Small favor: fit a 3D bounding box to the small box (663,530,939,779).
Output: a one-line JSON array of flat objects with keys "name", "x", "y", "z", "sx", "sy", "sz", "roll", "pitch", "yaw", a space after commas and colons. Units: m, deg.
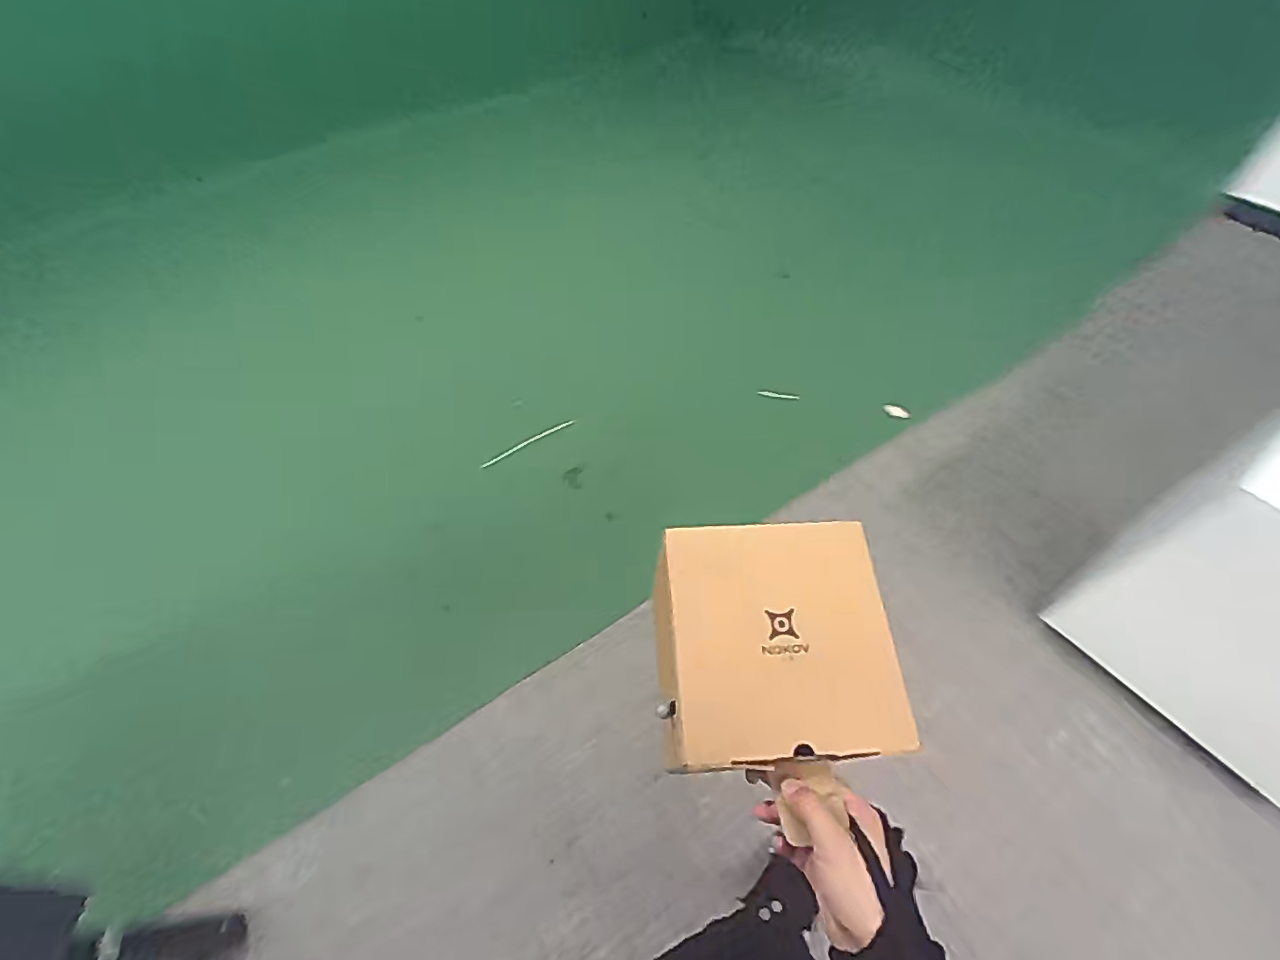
[{"name": "small box", "x": 0.113, "y": 0.156, "z": 0.469, "sx": 0.168, "sy": 0.176, "sz": 0.179, "roll": -1, "pitch": 62, "yaw": -4}]
